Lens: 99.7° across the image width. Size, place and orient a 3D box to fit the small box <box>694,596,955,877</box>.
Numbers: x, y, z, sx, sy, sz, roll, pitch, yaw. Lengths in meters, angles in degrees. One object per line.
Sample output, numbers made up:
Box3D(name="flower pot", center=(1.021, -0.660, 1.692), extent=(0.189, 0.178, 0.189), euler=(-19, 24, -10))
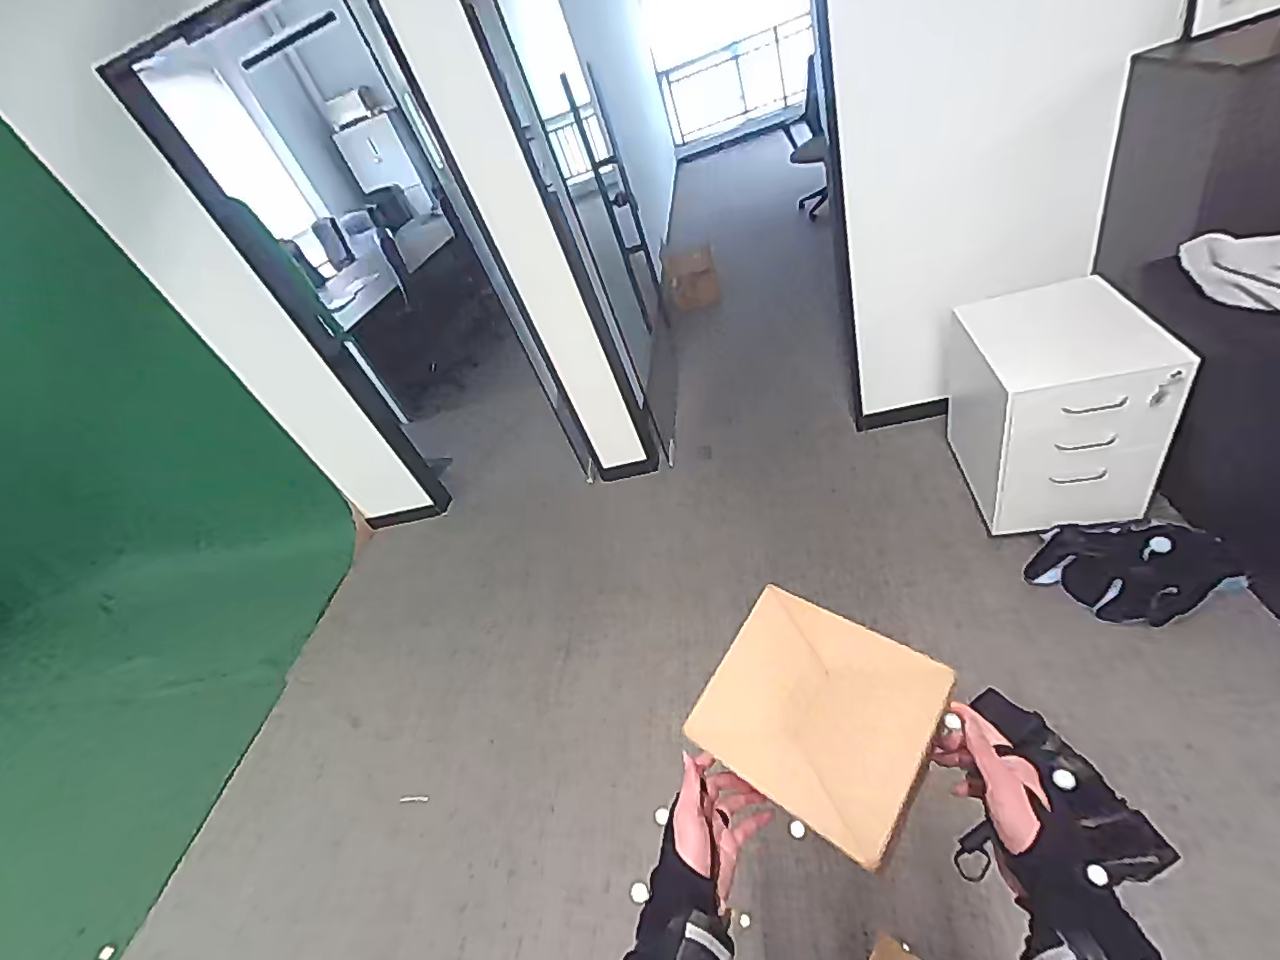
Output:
Box3D(name="small box", center=(0.178, 0.238, 0.510), extent=(0.179, 0.176, 0.168), euler=(22, 68, 34))
